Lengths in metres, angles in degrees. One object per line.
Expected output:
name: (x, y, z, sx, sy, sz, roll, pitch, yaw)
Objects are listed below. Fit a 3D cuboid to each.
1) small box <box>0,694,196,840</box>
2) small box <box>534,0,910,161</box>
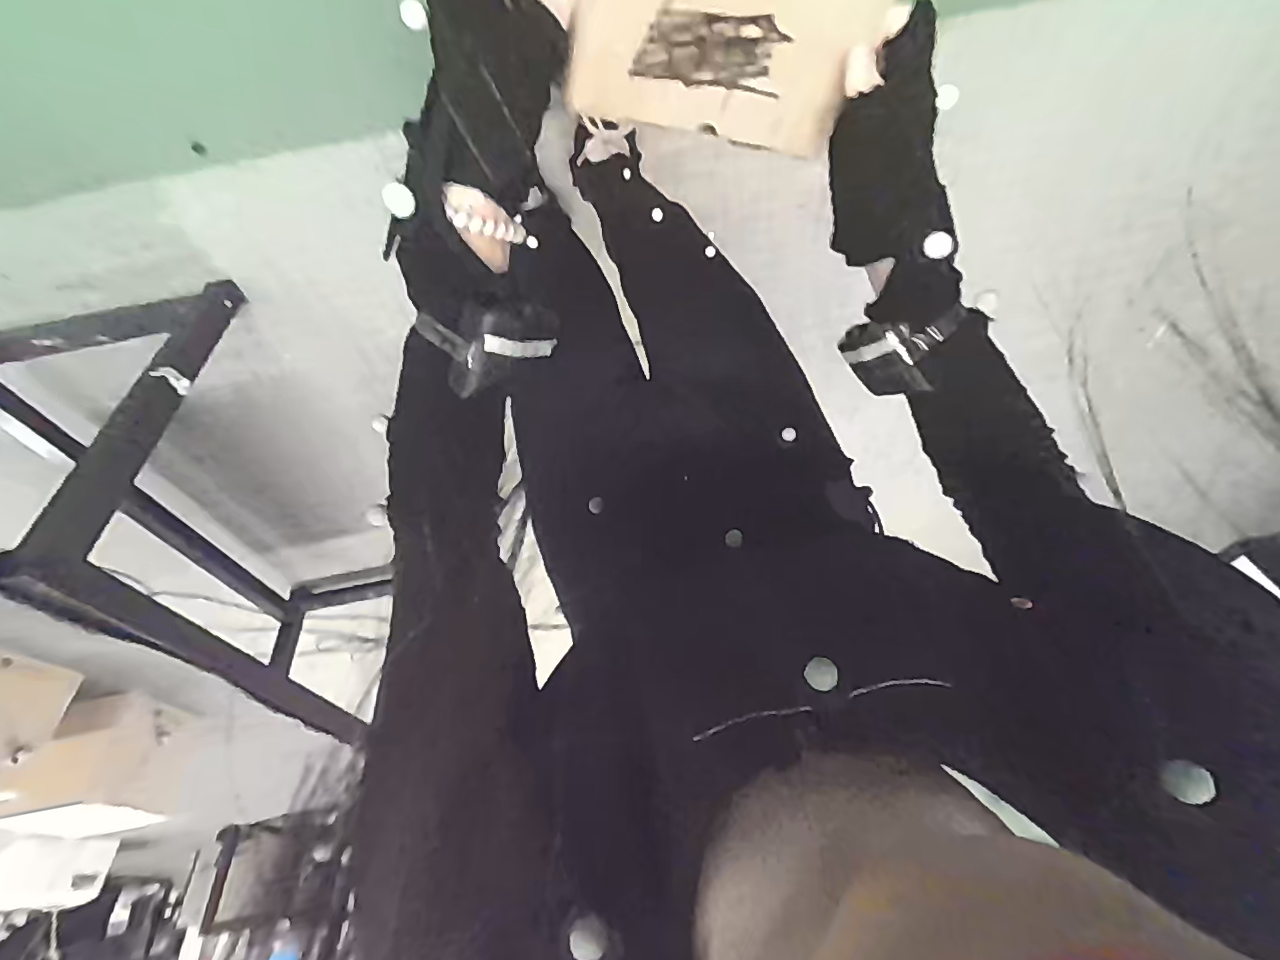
small box: (-0.904, 0.476, 0.899, 0.179, 0.176, 0.168, -11, 140, 0)
small box: (0.042, -0.310, 0.287, 0.168, 0.176, 0.179, -6, 145, -23)
